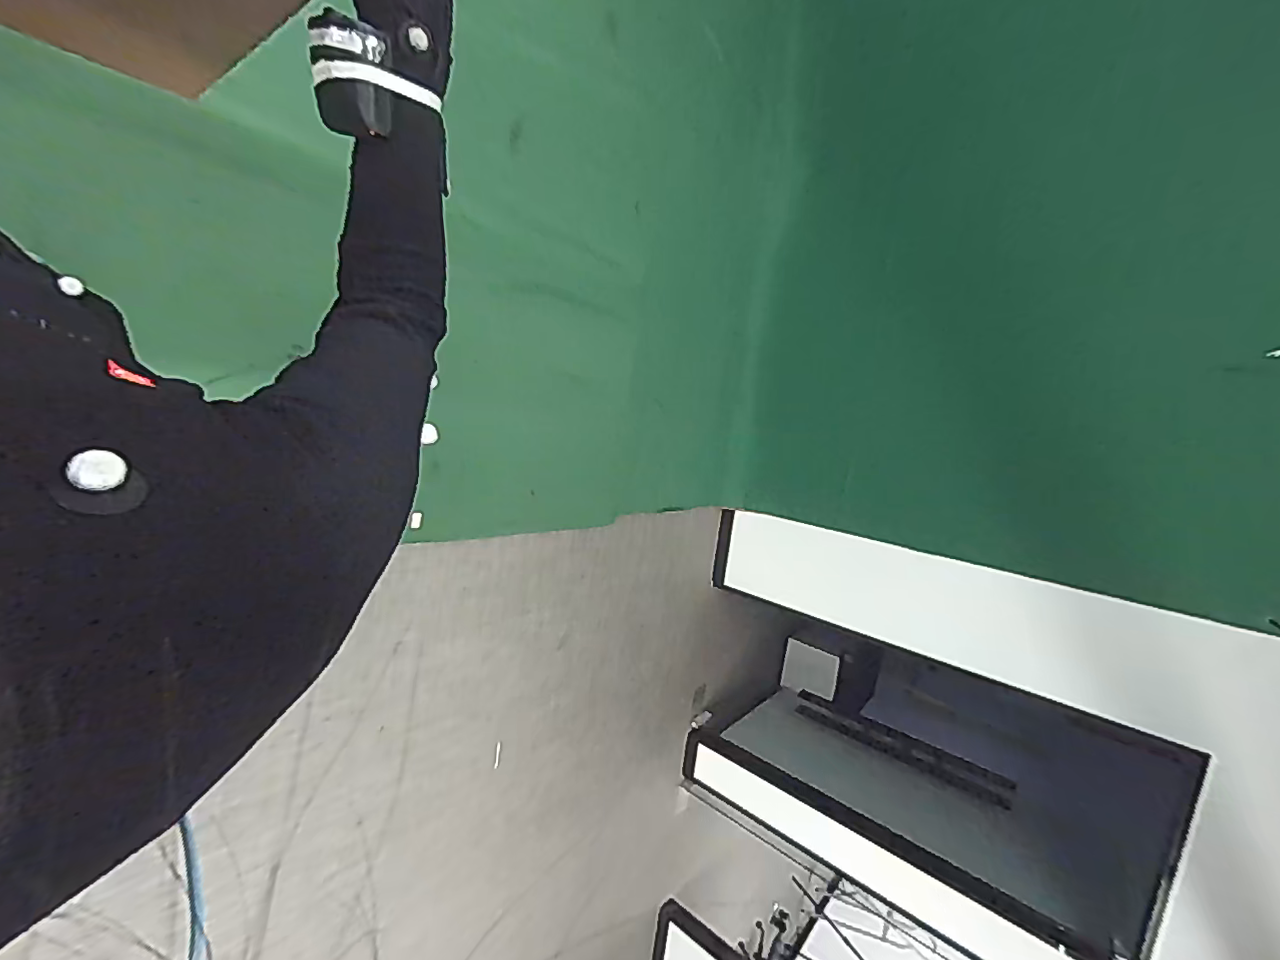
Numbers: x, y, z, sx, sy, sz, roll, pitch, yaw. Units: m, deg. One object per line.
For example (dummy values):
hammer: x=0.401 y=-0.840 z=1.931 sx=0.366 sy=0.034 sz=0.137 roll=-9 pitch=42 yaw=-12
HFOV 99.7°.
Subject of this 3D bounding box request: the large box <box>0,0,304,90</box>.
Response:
large box: x=-0.419 y=-0.480 z=0.257 sx=0.408 sy=0.320 sz=0.320 roll=-5 pitch=106 yaw=-52
